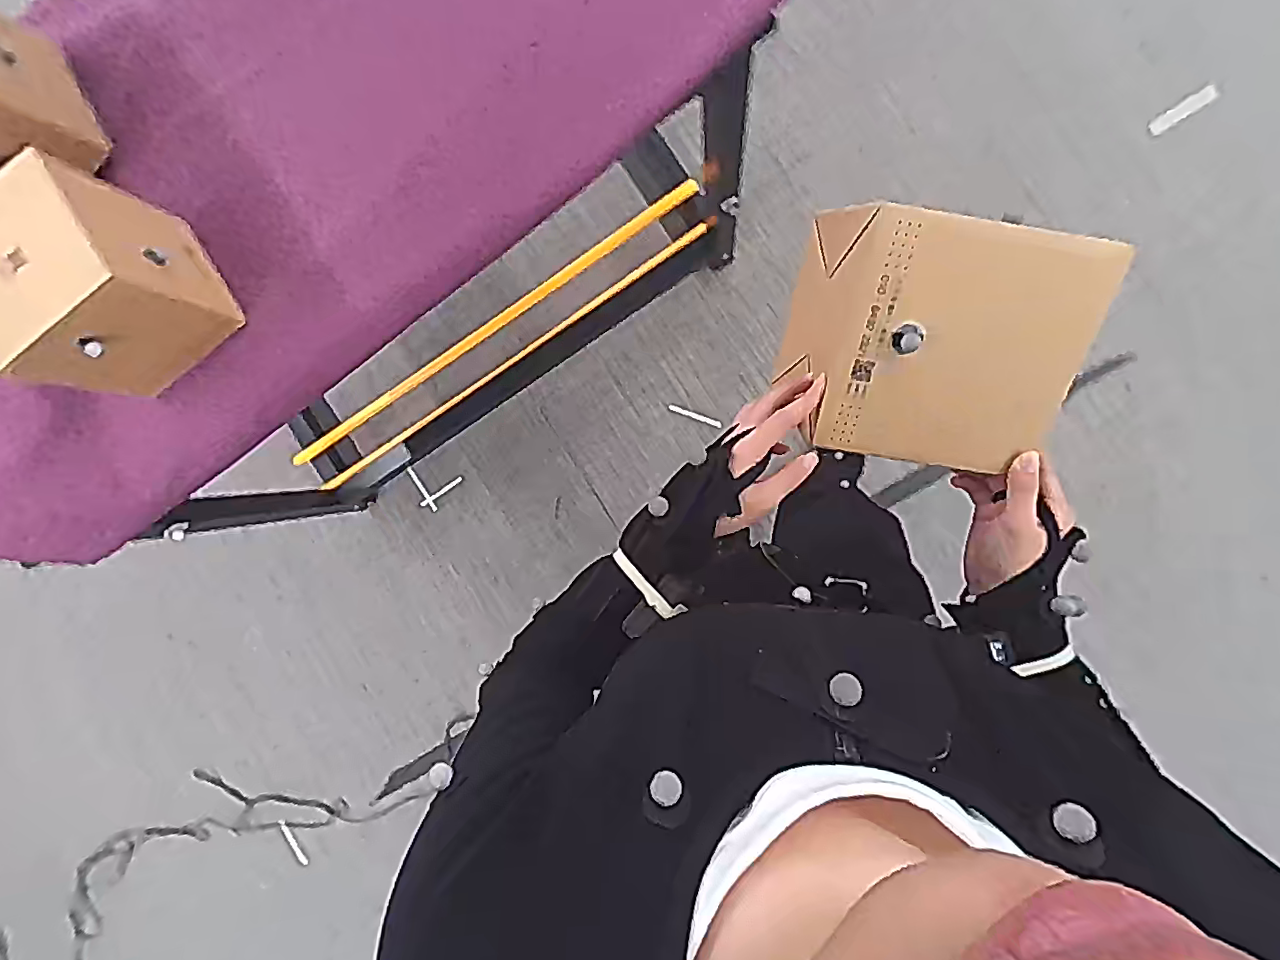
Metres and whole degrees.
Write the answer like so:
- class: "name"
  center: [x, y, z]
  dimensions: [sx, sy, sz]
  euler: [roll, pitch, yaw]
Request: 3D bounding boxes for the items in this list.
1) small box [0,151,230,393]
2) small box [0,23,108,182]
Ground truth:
- class: "small box"
  center: [-0.629, -0.221, 0.628]
  dimensions: [0.179, 0.176, 0.168]
  euler: [-35, 87, 7]
- class: "small box"
  center: [-0.800, -0.437, 0.629]
  dimensions: [0.179, 0.168, 0.176]
  euler: [-30, 87, 14]
